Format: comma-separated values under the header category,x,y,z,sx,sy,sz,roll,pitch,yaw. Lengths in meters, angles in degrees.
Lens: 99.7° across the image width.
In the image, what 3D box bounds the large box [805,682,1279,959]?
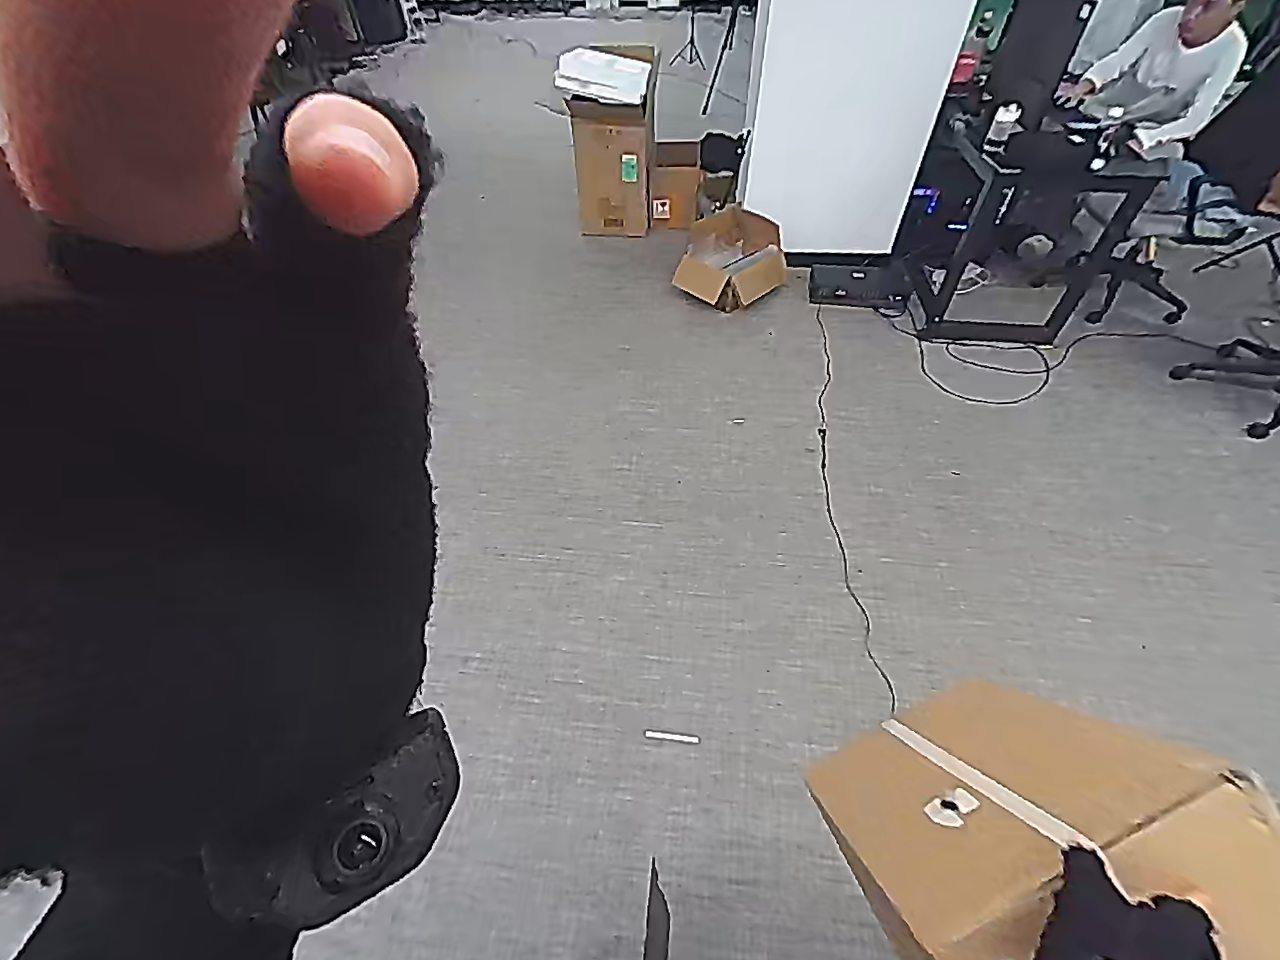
category,x,y,z,sx,sy,sz,roll,pitch,yaw
large box,0.444,0.480,0.614,0.320,0.408,0.320,-26,83,-2
